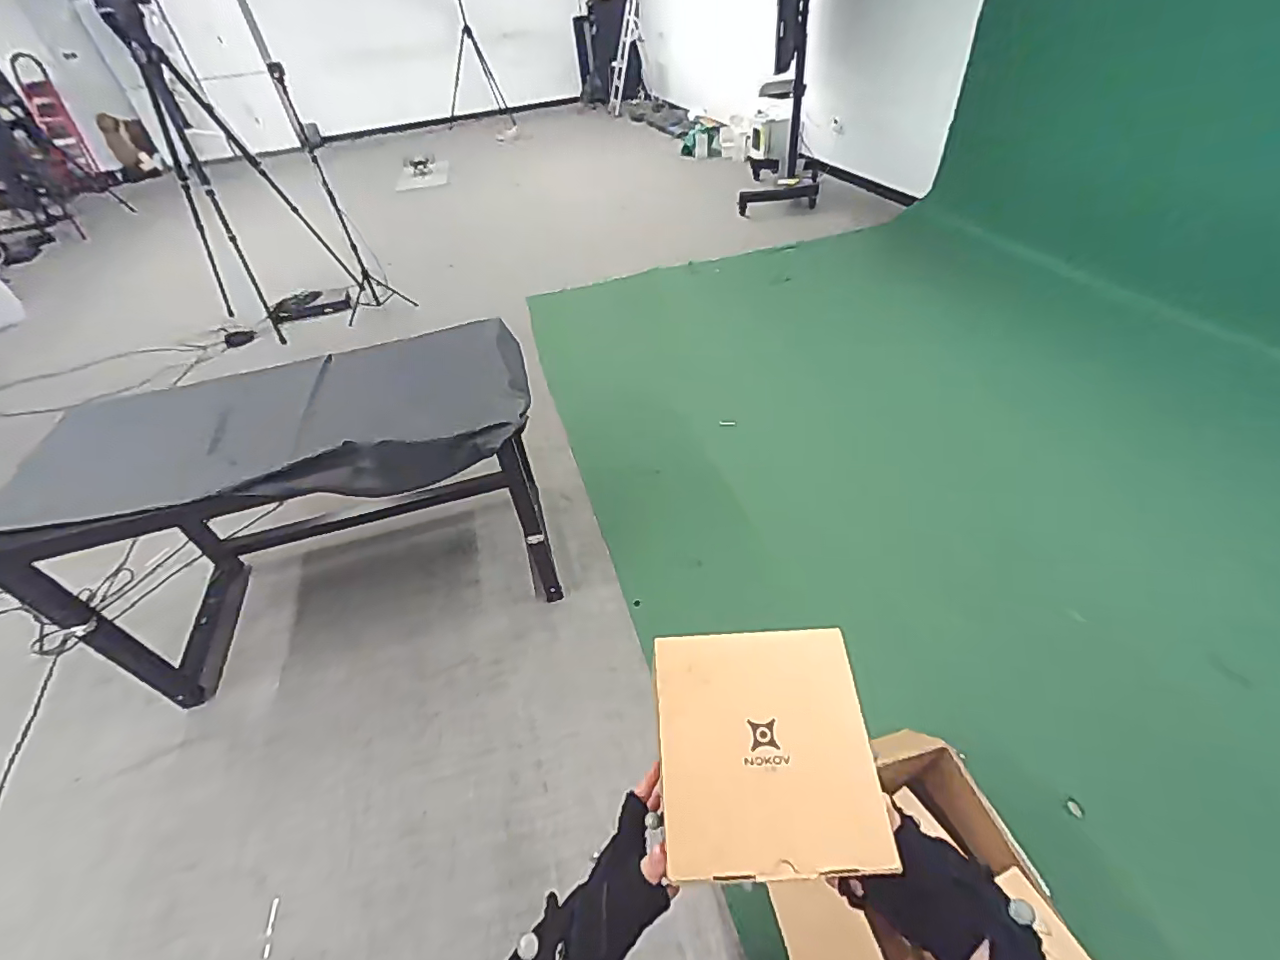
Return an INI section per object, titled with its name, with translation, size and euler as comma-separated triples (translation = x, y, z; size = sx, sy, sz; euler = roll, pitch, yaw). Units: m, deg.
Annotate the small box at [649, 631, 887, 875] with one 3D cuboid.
[small box]
translation = 0.095, 0.254, 0.501
size = 0.168, 0.176, 0.179
euler = -2, 57, -1
